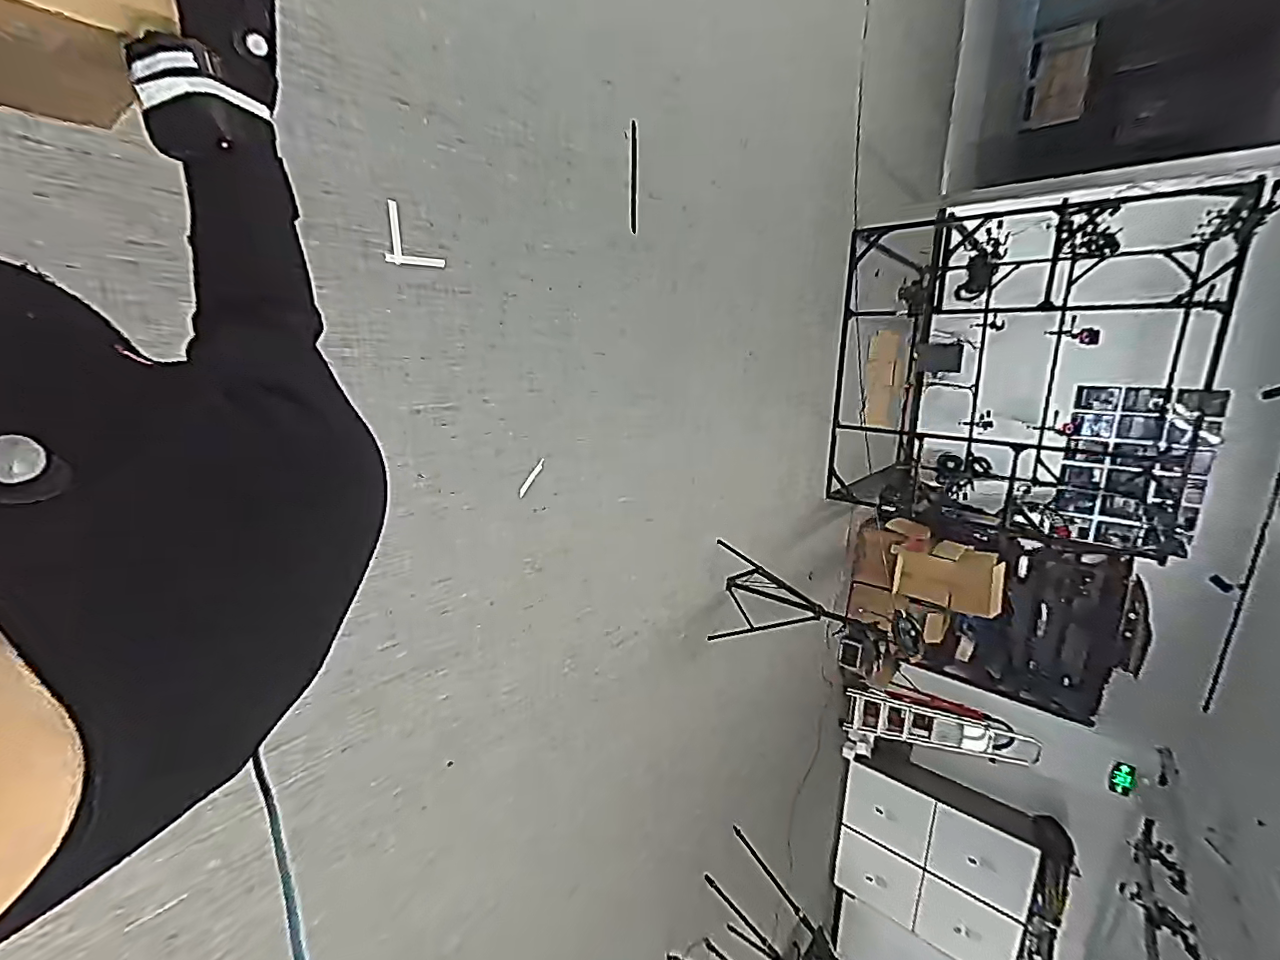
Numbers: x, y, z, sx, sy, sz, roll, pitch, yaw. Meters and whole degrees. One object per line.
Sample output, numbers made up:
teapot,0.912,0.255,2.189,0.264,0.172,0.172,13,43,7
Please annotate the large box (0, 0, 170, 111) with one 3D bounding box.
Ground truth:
large box,-0.571,-0.456,0.286,0.408,0.320,0.320,-16,116,-49
